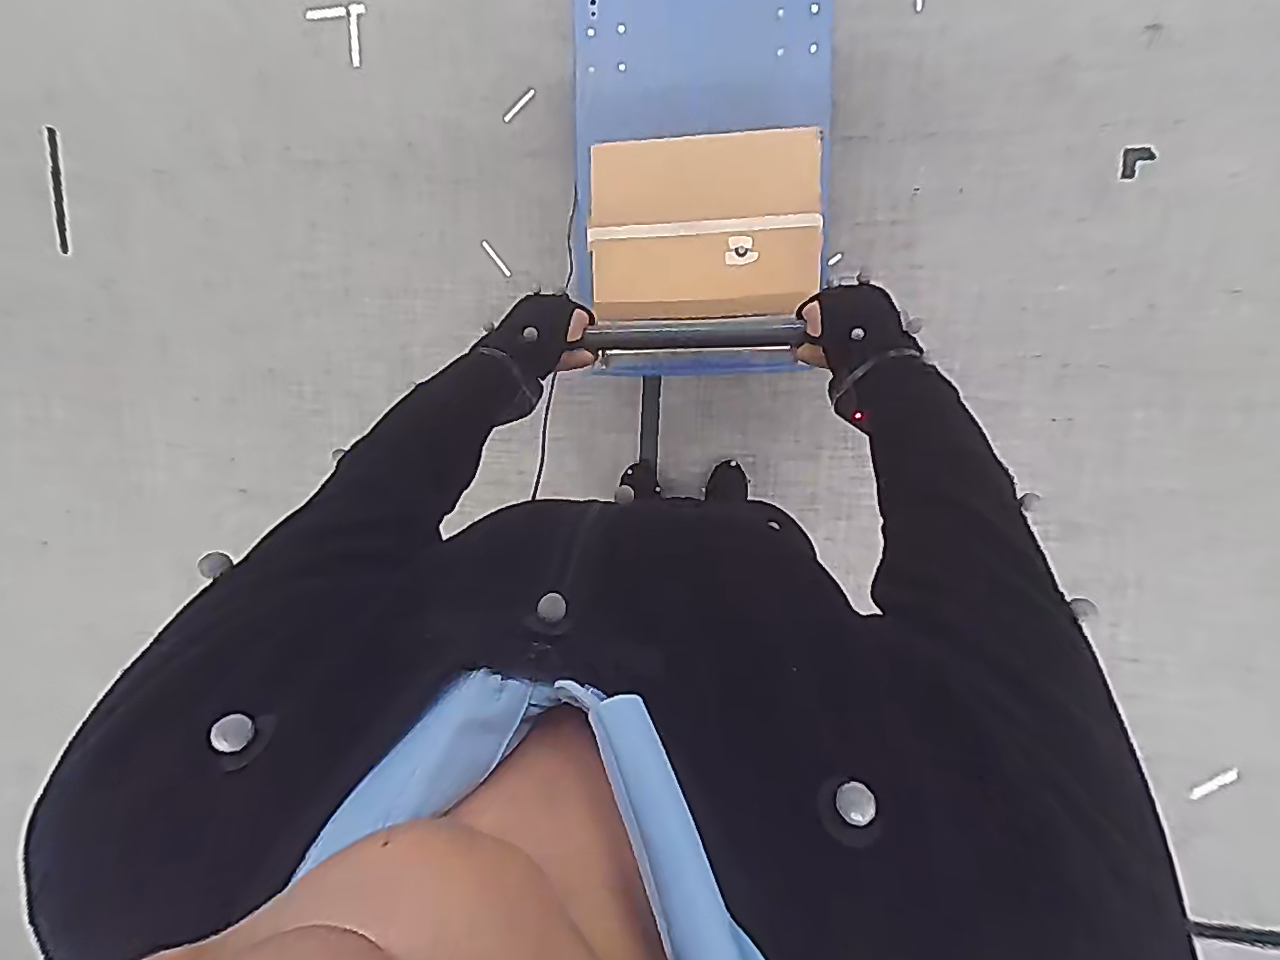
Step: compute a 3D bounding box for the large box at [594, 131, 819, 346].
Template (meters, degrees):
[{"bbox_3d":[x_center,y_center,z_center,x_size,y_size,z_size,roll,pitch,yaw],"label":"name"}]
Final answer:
[{"bbox_3d":[0.133,-0.464,1.122,0.408,0.320,0.320,0,96,6],"label":"large box"}]
